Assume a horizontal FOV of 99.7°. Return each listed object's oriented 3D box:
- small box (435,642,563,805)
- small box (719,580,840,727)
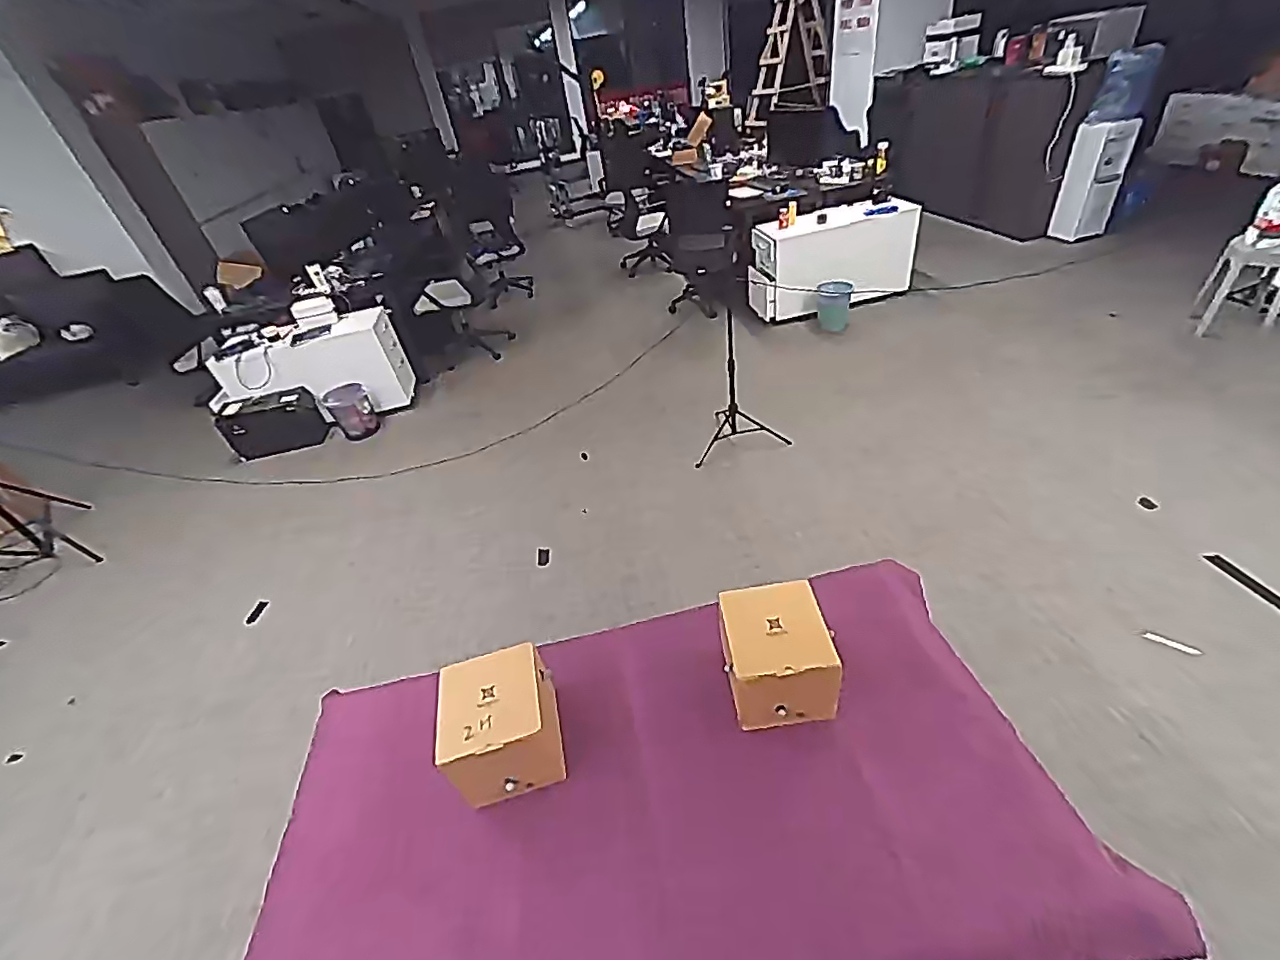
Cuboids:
[{"bbox_3d":[-0.237,0.417,0.932,0.168,0.176,0.179,-15,38,-5],"label":"small box"},{"bbox_3d":[0.238,0.307,0.958,0.168,0.176,0.179,-10,39,2],"label":"small box"}]
